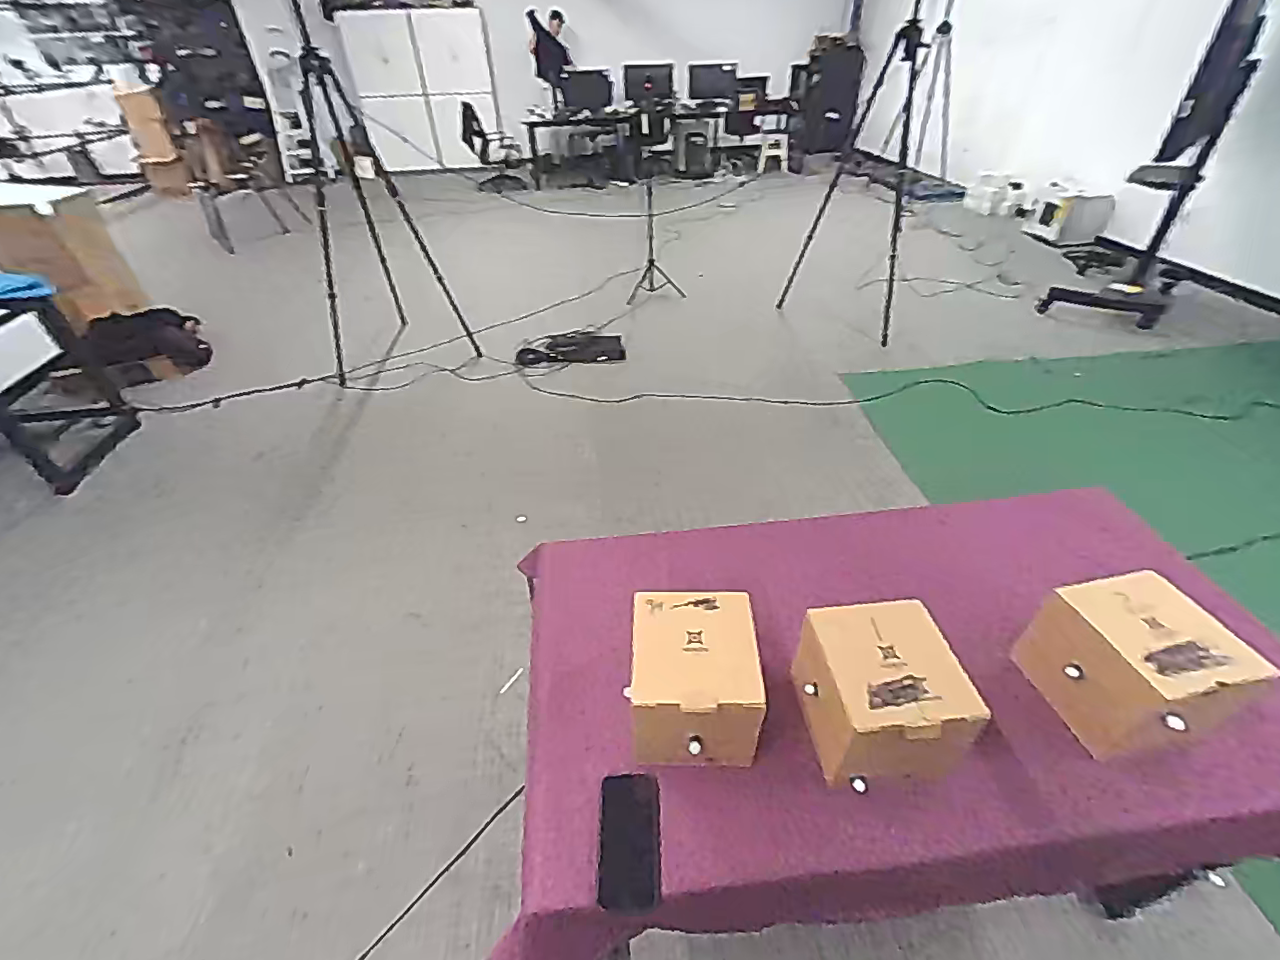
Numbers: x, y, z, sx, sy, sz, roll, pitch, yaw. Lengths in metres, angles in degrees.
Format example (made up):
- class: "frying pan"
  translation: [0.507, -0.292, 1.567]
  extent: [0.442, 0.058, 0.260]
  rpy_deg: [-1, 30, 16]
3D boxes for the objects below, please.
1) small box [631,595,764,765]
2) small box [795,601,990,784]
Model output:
- class: "small box"
  translation: [0.077, 0.284, 0.767]
  extent: [0.168, 0.176, 0.179]
  rpy_deg: [-1, 40, 3]
- class: "small box"
  translation: [0.325, 0.293, 0.739]
  extent: [0.168, 0.176, 0.179]
  rpy_deg: [-5, 38, -3]
